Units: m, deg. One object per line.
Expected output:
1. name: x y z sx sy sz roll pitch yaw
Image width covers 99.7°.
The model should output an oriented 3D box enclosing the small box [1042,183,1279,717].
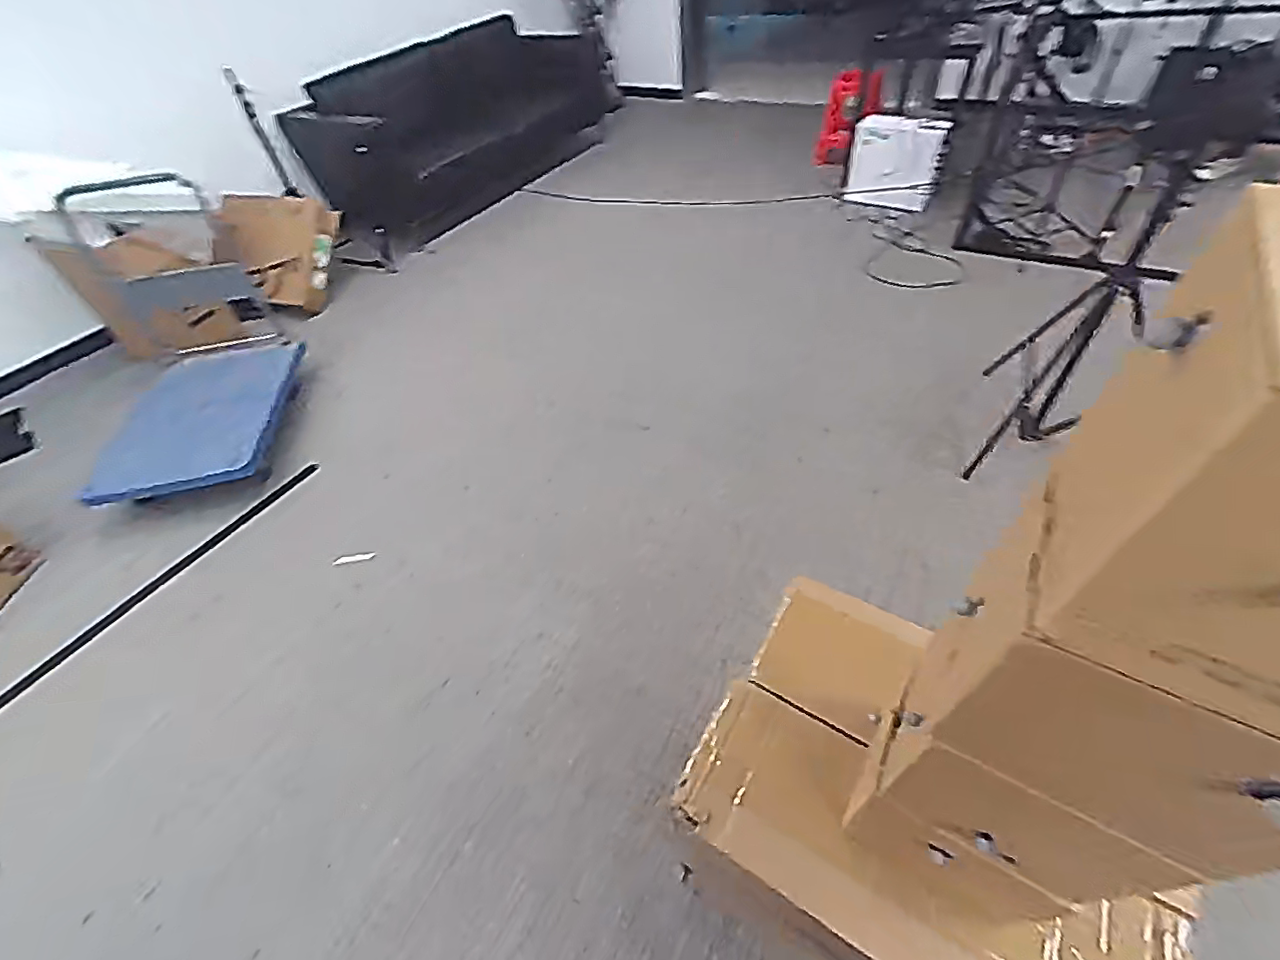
1. small box: 0.312 -0.003 0.237 0.168 0.176 0.179 23 54 25

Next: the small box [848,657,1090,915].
1. small box: 0.349 0.335 0.592 0.179 0.176 0.168 23 55 25

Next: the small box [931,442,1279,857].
1. small box: 0.324 0.110 0.353 0.179 0.176 0.168 23 54 25
